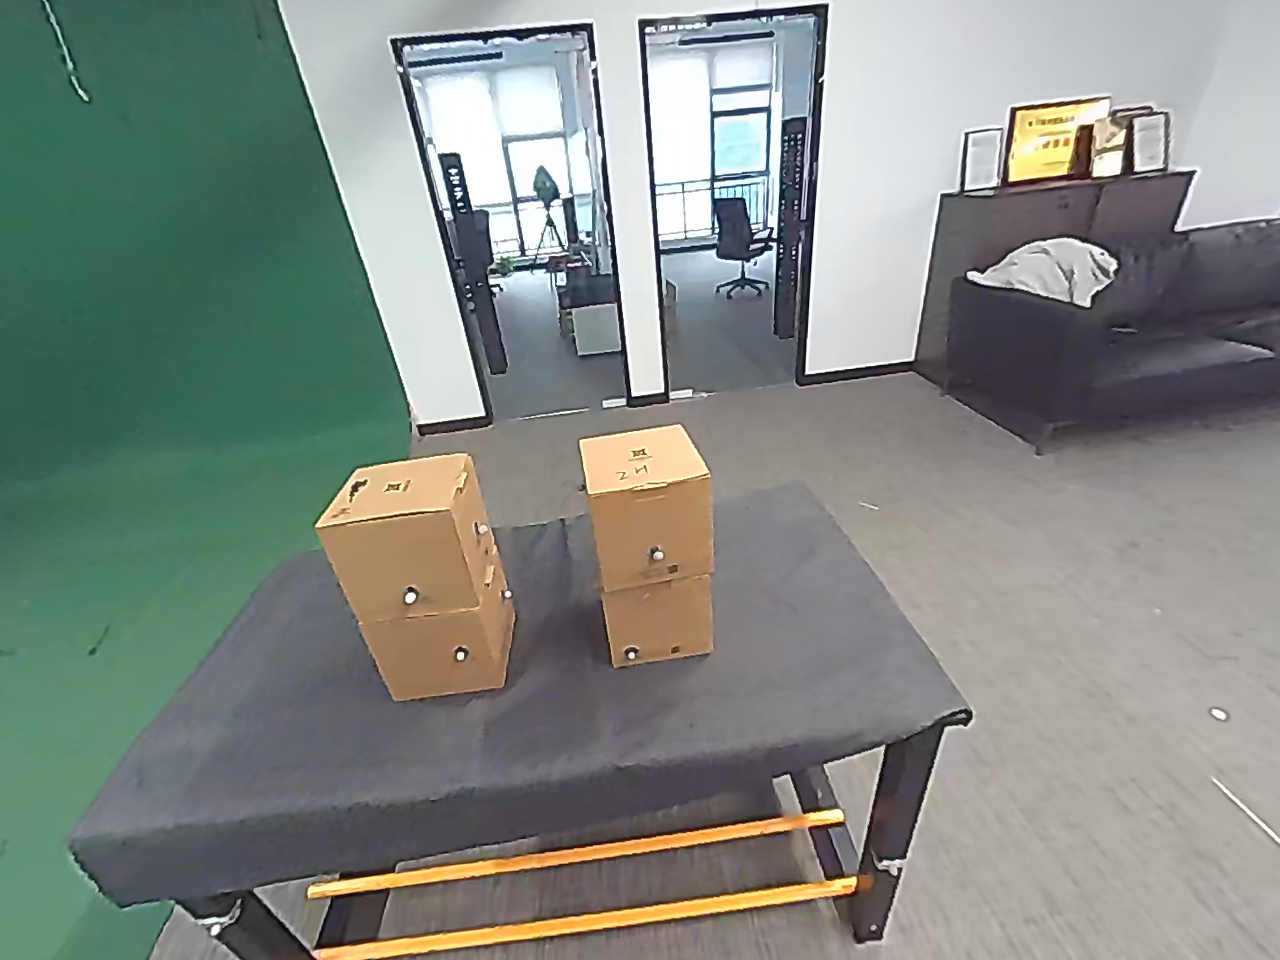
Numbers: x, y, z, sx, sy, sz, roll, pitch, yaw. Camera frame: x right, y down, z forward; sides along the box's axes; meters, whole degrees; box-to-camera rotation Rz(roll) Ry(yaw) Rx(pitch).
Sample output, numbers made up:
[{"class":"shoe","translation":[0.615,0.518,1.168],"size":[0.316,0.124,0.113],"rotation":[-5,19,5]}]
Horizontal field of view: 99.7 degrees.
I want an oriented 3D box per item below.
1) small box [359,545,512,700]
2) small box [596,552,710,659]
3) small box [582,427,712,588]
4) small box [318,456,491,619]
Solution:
[{"class":"small box","translation":[-0.313,0.229,0.877],"size":[0.179,0.176,0.168],"rotation":[-8,28,-2]},{"class":"small box","translation":[0.019,0.179,0.904],"size":[0.168,0.176,0.179],"rotation":[-7,29,-3]},{"class":"small box","translation":[0.007,0.037,0.821],"size":[0.168,0.176,0.179],"rotation":[-10,30,-6]},{"class":"small box","translation":[-0.330,0.083,0.803],"size":[0.179,0.176,0.168],"rotation":[-7,29,-3]}]
